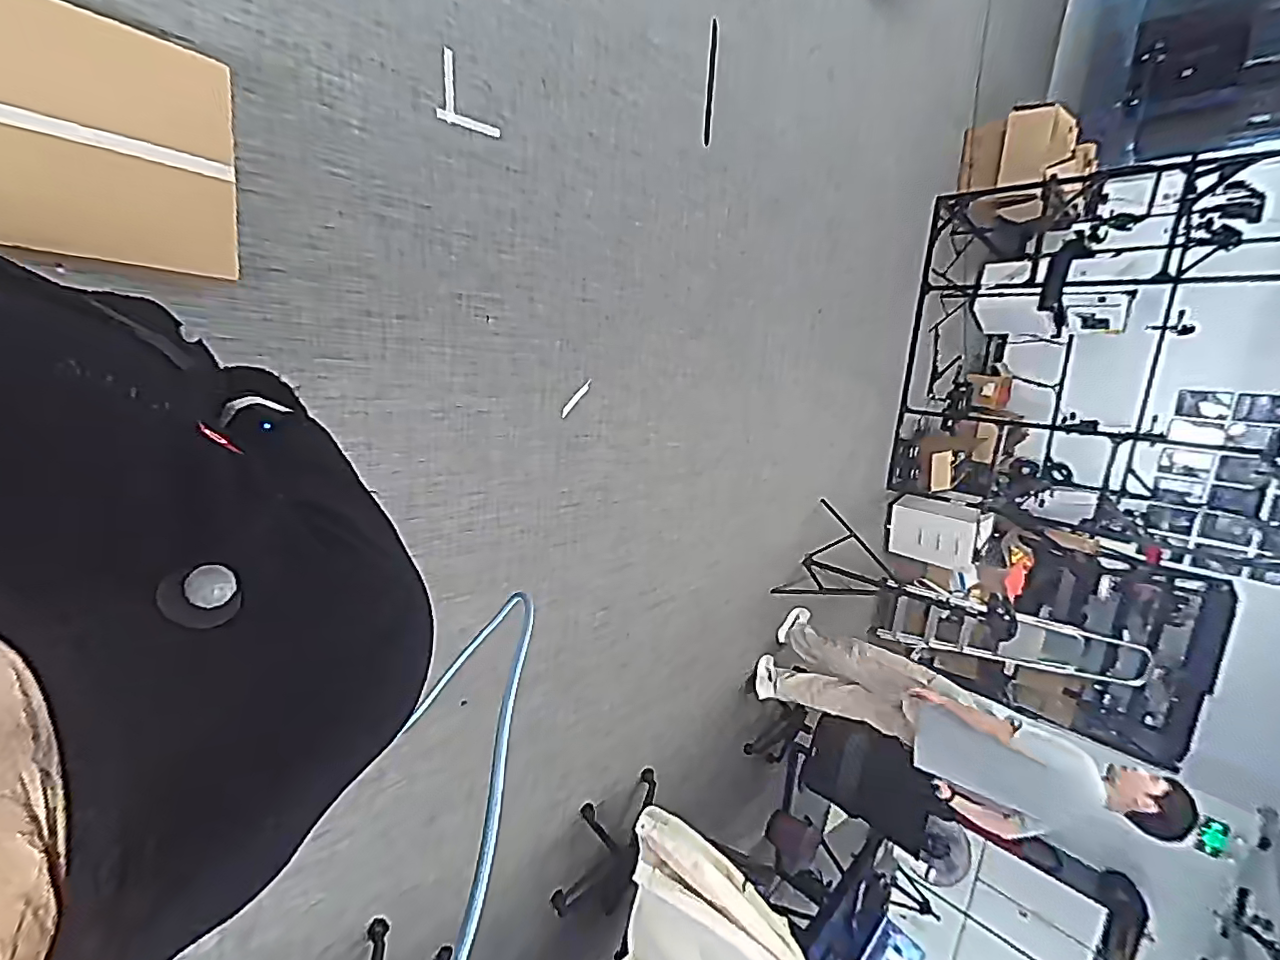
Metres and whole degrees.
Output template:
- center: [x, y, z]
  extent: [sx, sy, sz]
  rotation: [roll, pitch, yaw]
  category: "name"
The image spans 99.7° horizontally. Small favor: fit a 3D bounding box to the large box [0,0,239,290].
- center: [-0.880, -0.478, 0.801]
  extent: [0.408, 0.320, 0.320]
  rotation: [-6, 106, -46]
  category: "large box"
